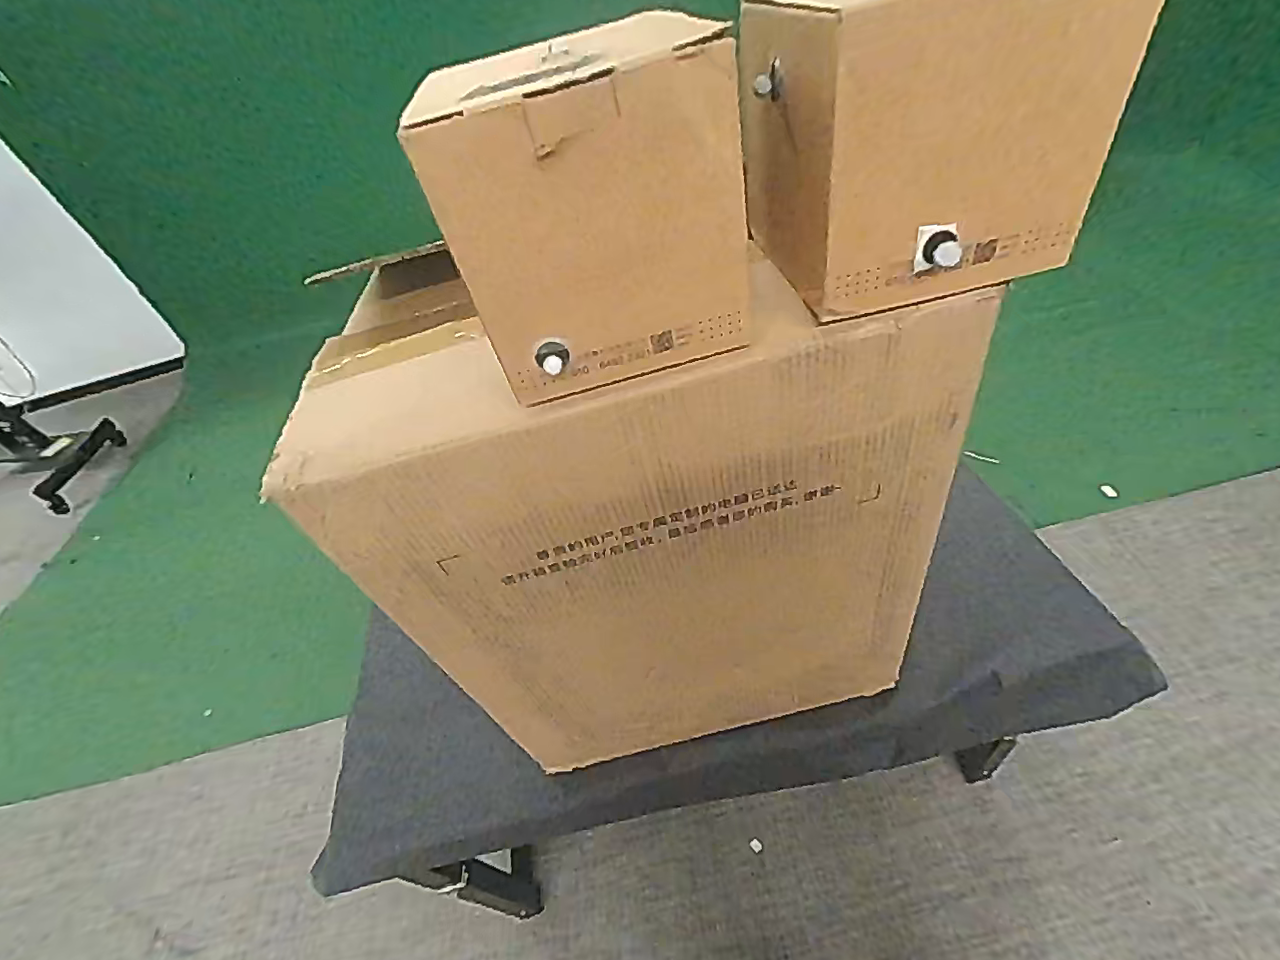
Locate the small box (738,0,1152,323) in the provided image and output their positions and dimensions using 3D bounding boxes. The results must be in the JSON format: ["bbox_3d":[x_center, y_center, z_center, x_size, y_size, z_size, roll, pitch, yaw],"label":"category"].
[{"bbox_3d":[0.173,-0.235,0.371,0.168,0.176,0.179,-16,45,1],"label":"small box"}]
